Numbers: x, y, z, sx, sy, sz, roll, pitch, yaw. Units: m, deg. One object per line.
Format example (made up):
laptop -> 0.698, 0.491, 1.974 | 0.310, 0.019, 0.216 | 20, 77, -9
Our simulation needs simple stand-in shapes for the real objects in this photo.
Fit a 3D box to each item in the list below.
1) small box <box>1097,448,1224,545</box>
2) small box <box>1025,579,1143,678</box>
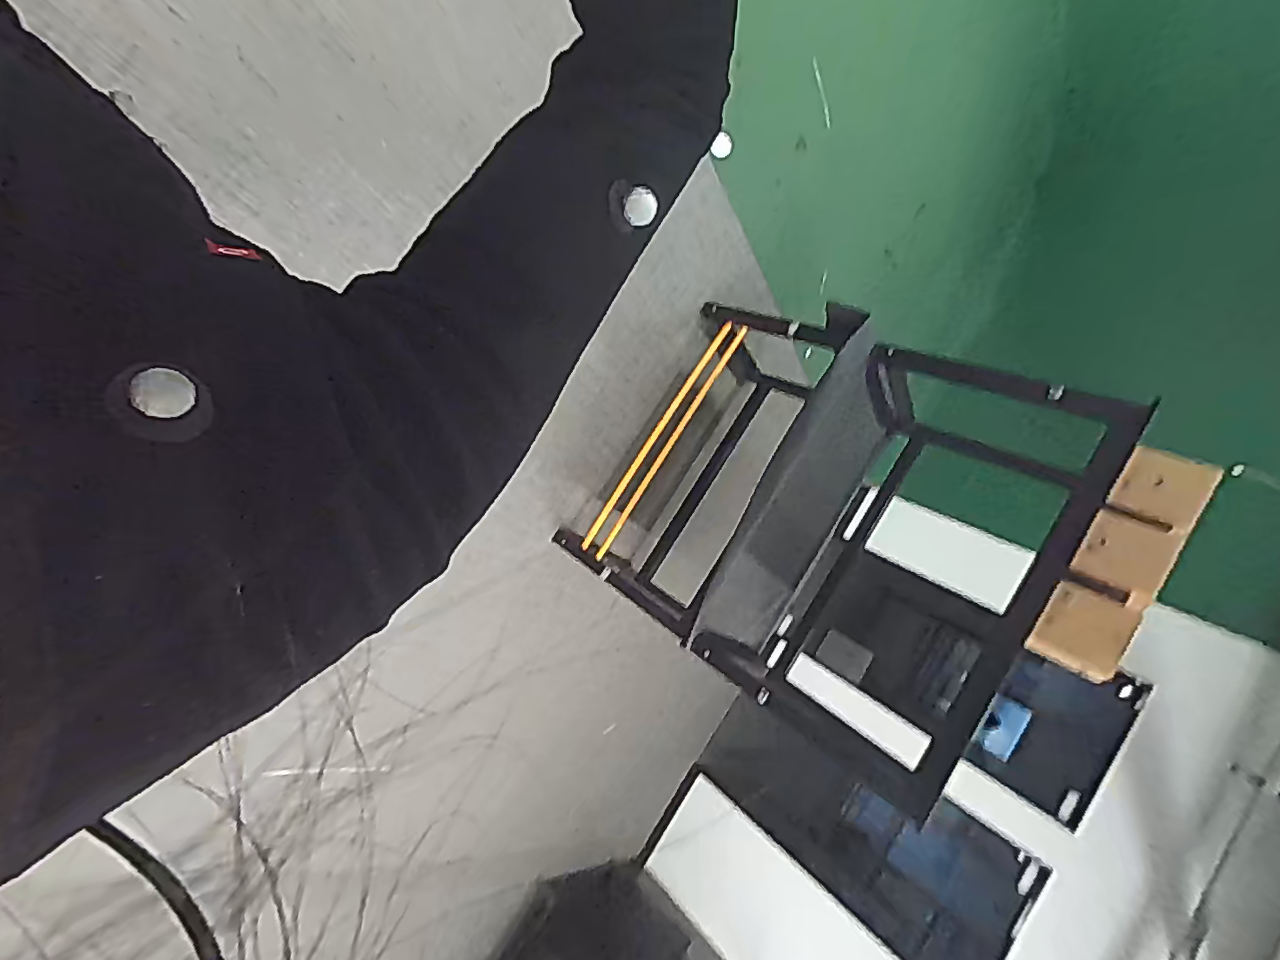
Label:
small box -> 1.307, 0.037, 1.372 | 0.168, 0.176, 0.179 | -56, 142, -3
small box -> 1.081, 0.363, 1.332 | 0.168, 0.176, 0.179 | -58, 143, -2
